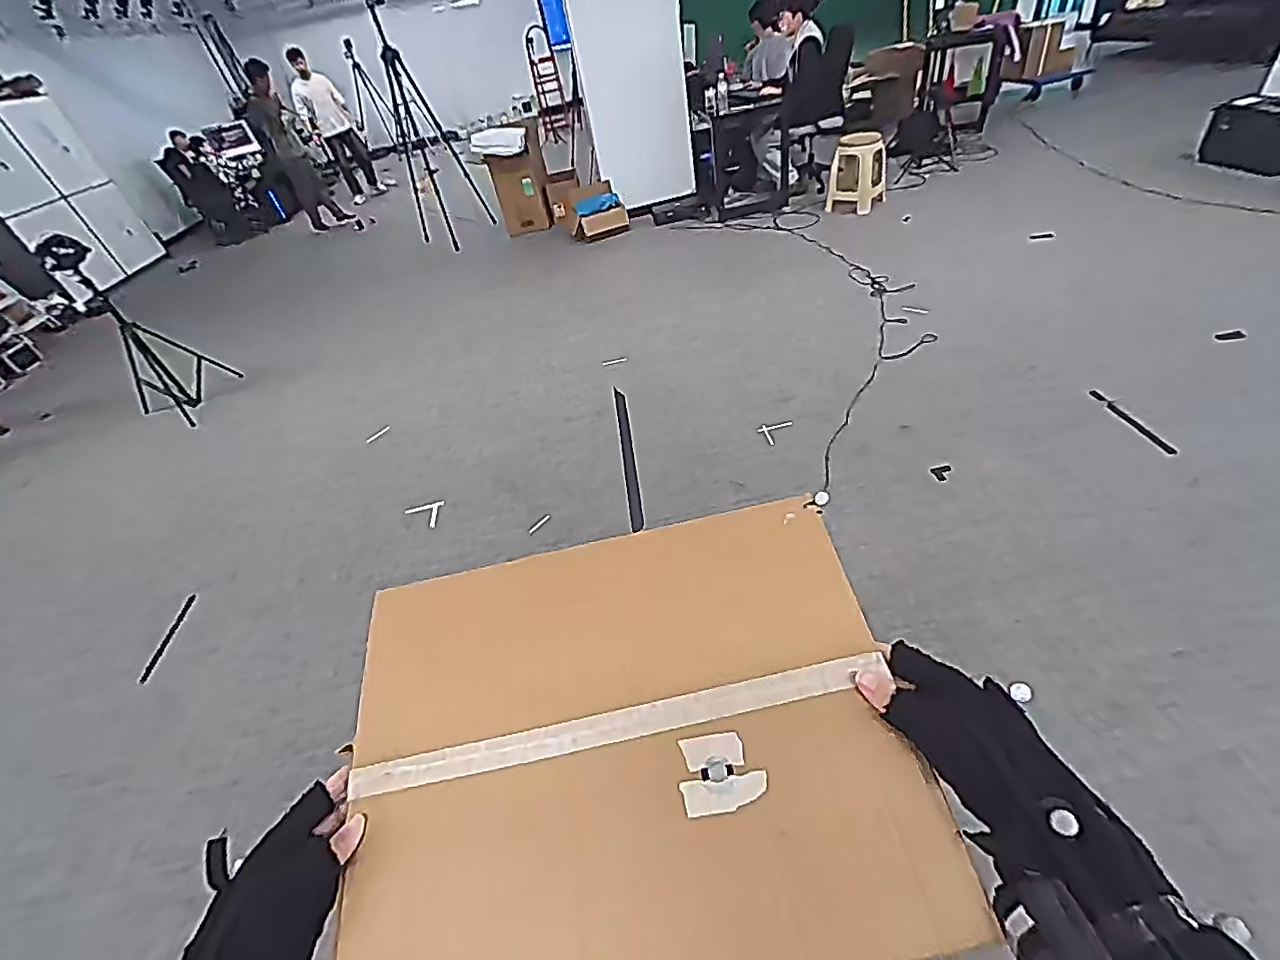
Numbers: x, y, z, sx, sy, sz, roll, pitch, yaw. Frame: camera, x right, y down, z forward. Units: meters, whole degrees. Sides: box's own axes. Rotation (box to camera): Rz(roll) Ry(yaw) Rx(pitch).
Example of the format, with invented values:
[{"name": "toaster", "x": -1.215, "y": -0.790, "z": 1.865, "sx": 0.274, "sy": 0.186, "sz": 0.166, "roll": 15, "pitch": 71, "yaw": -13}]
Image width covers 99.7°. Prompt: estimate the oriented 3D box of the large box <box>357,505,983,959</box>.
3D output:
[{"name": "large box", "x": 0.008, "y": 0.274, "z": 0.531, "sx": 0.408, "sy": 0.320, "sz": 0.320, "roll": -13, "pitch": 55, "yaw": 0}]
